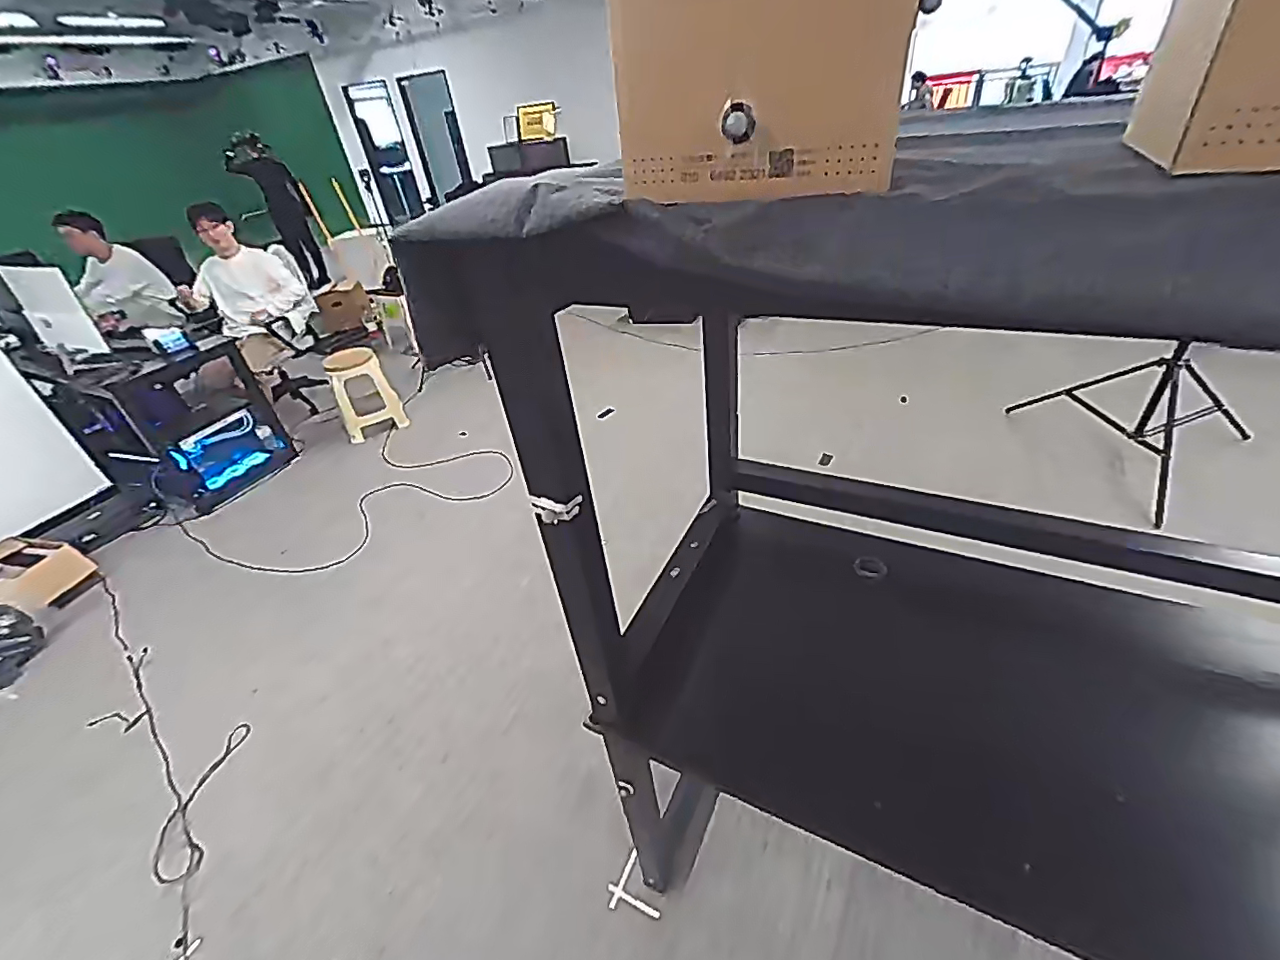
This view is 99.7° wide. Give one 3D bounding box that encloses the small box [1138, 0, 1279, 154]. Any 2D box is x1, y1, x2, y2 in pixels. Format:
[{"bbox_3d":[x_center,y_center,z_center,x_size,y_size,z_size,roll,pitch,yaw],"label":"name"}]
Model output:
[{"bbox_3d":[0.370,-0.253,0.245,0.168,0.176,0.179,13,38,27],"label":"small box"}]
